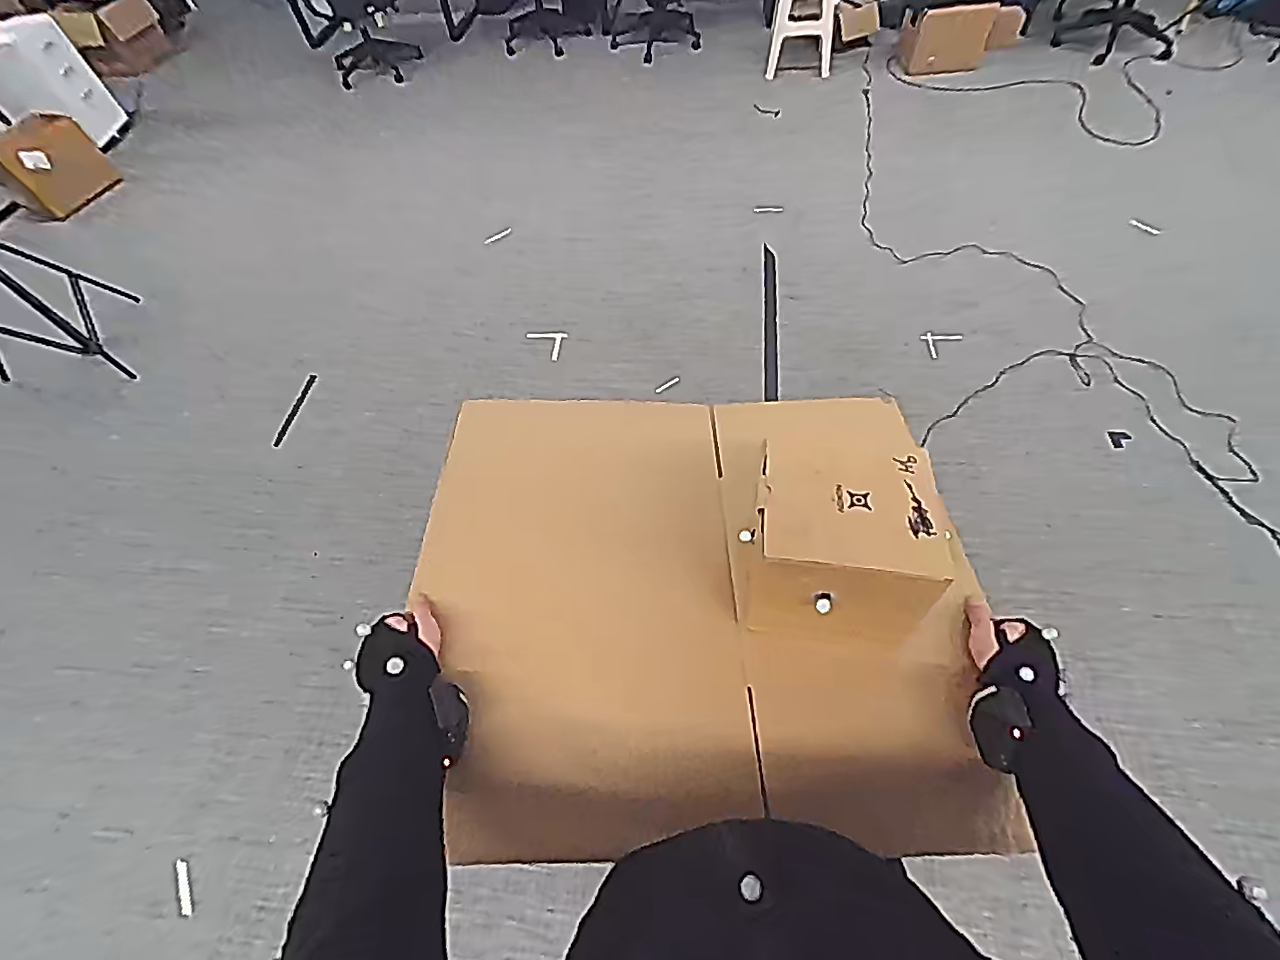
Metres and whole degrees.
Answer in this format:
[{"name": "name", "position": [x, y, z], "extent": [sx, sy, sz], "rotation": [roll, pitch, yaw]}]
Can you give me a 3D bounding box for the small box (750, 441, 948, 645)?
[{"name": "small box", "position": [0.222, 0.075, 0.625], "extent": [0.179, 0.176, 0.168], "rotation": [5, 52, 9]}]
